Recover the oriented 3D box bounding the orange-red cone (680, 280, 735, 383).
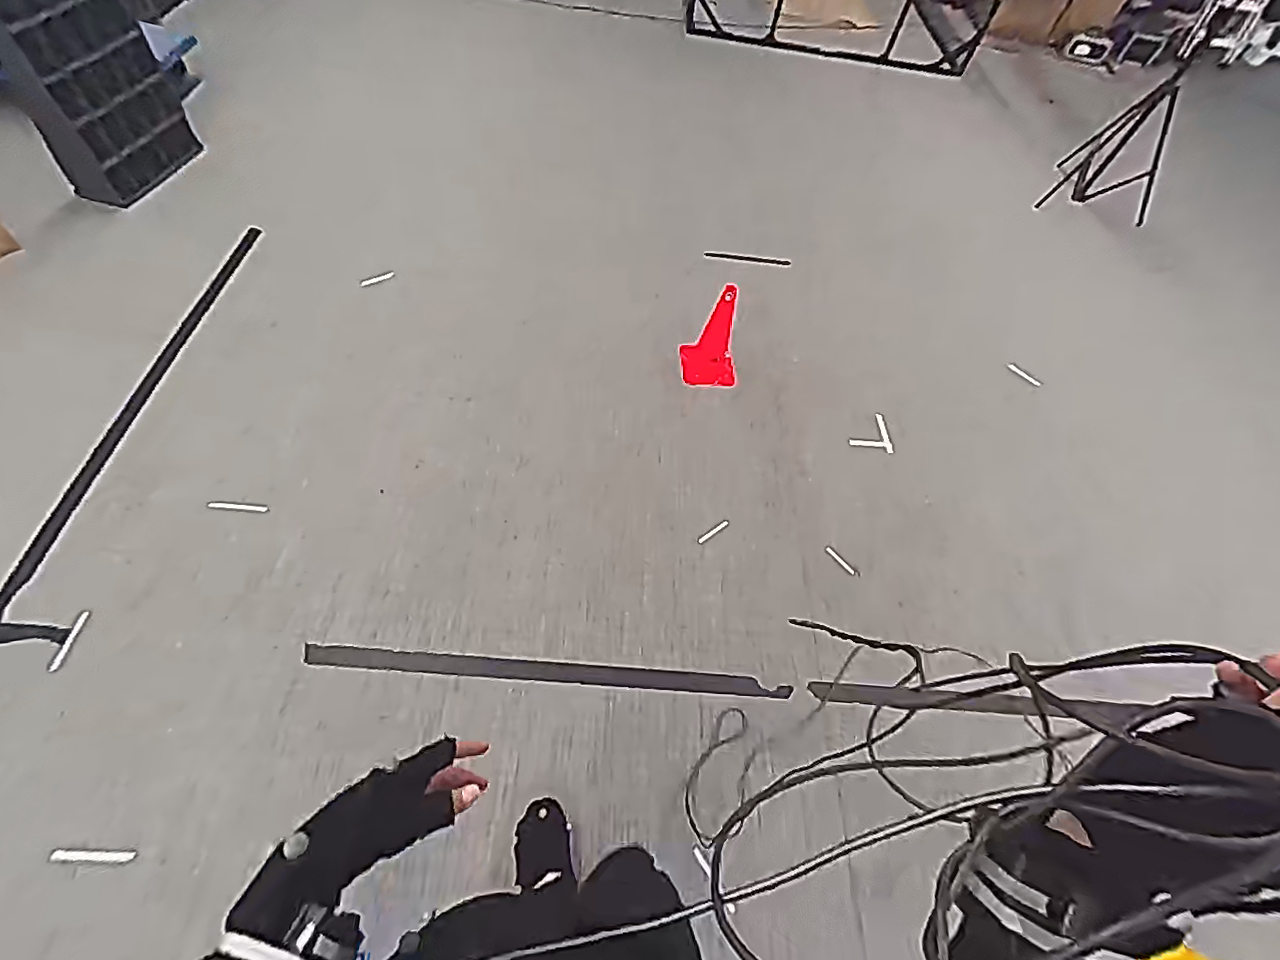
[{"bbox_3d":[0.266,-0.528,1.866,0.199,0.360,0.198,1,57,-6],"label":"orange-red cone"}]

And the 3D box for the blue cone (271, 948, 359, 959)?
[{"bbox_3d":[-0.605,0.898,0.847,0.193,0.380,0.192,1,58,-7],"label":"blue cone"}]
